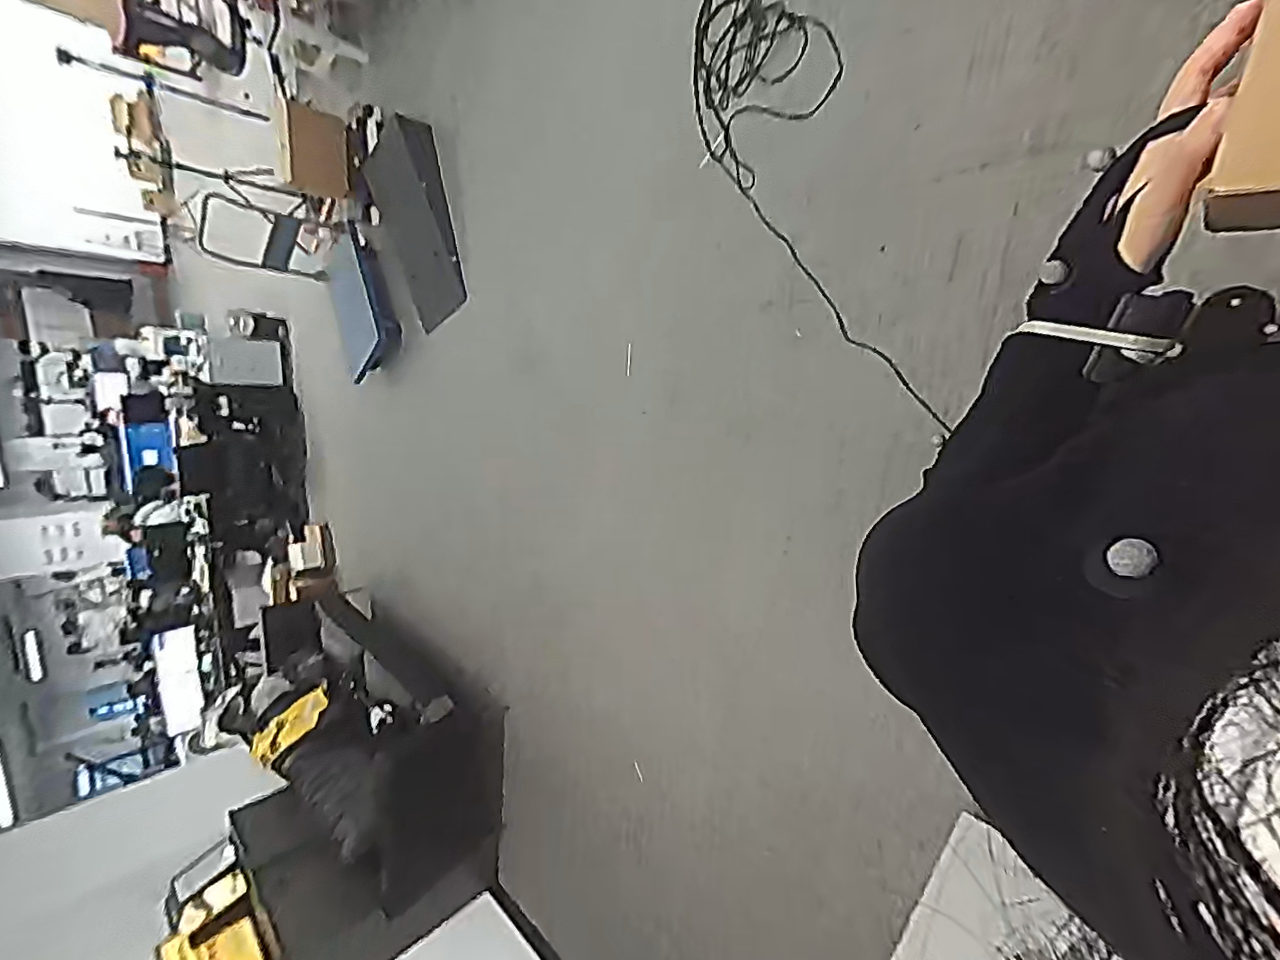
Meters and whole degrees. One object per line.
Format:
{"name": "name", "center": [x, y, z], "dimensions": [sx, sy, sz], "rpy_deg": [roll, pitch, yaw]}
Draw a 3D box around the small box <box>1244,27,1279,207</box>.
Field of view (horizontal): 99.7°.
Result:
{"name": "small box", "center": [0.389, -0.226, 0.219], "dimensions": [0.168, 0.176, 0.179], "rpy_deg": [18, 115, 43]}
